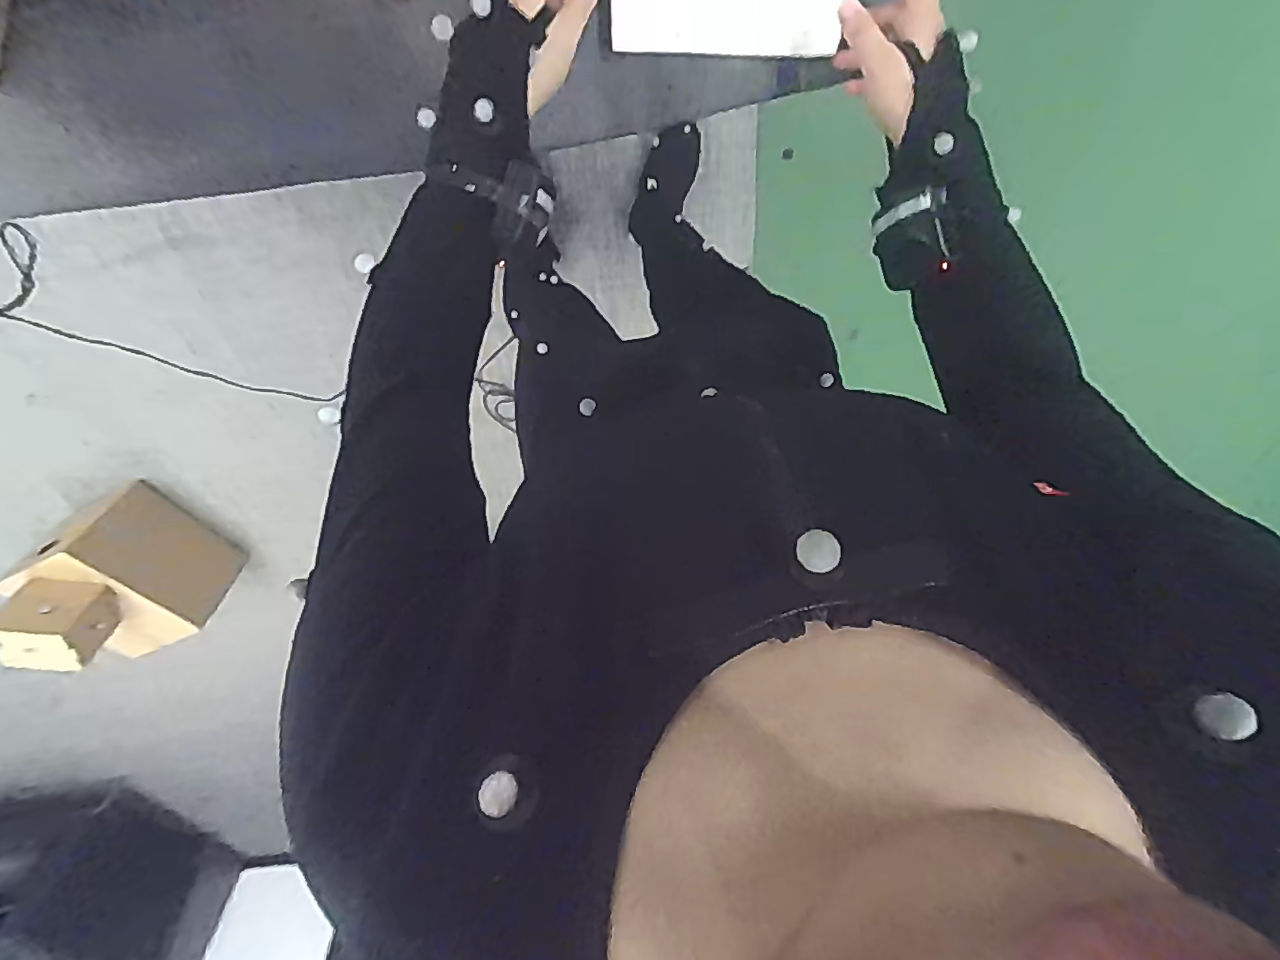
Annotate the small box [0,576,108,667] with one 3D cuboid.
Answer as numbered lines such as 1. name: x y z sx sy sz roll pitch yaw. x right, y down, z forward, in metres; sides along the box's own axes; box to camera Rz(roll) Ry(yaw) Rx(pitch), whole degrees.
1. small box: -1.571 0.373 1.432 0.179 0.176 0.168 9 128 -14
